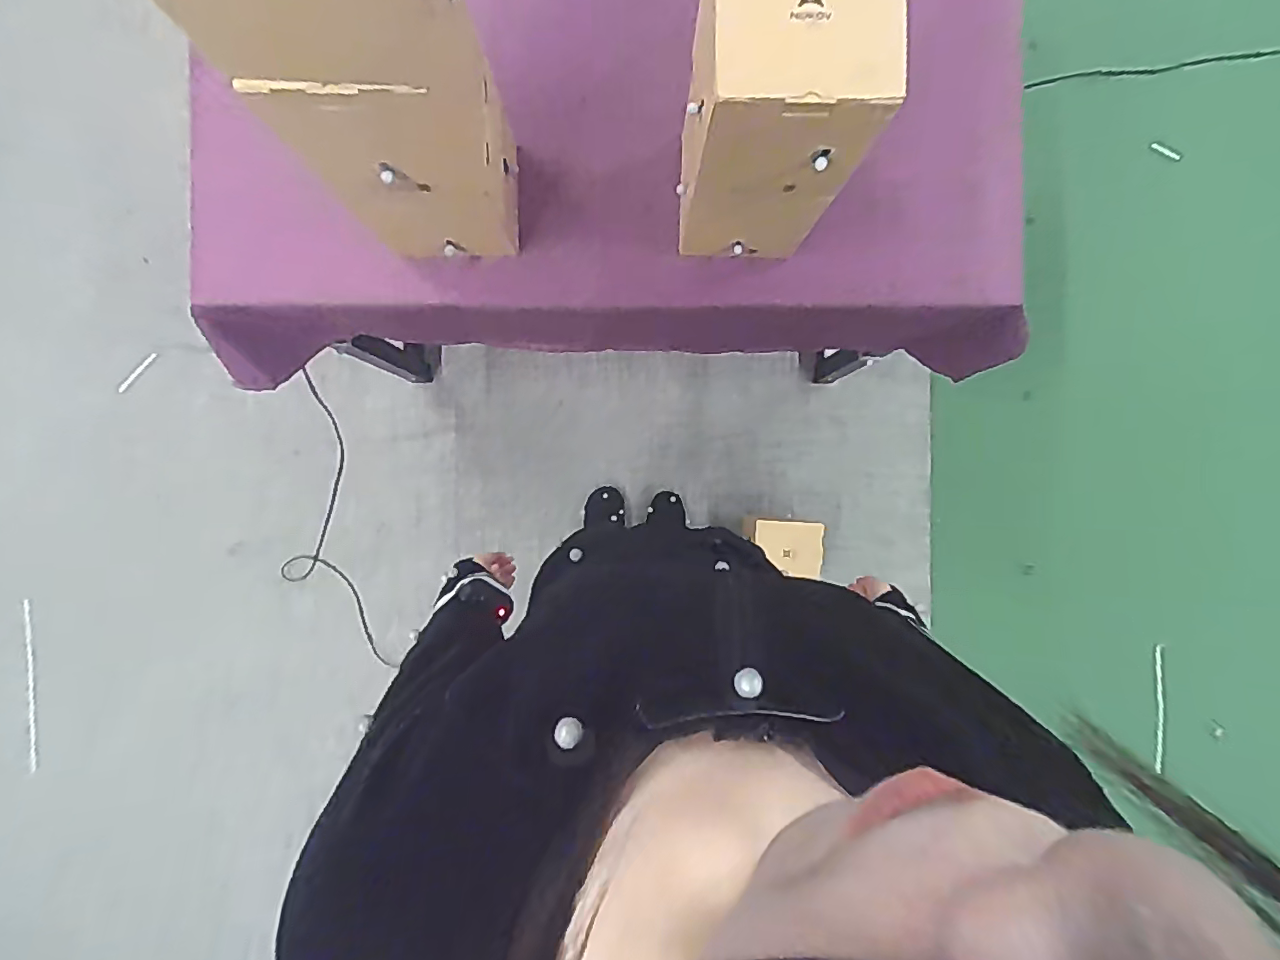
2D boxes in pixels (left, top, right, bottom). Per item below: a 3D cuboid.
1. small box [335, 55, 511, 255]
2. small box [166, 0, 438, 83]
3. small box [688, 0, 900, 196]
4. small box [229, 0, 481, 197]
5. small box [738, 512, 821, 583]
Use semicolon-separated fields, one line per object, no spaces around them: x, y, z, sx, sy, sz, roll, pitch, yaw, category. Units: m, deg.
-0.266;-0.406;0.699;0.179;0.176;0.168;-2;90;-2;small box
-0.253;-0.412;0.369;0.179;0.176;0.168;1;90;-2;small box
0.140;-0.410;0.544;0.168;0.176;0.179;0;90;-2;small box
-0.262;-0.411;0.534;0.168;0.176;0.179;0;90;-1;small box
0.365;0.174;1.446;0.179;0.176;0.168;3;91;-2;small box
